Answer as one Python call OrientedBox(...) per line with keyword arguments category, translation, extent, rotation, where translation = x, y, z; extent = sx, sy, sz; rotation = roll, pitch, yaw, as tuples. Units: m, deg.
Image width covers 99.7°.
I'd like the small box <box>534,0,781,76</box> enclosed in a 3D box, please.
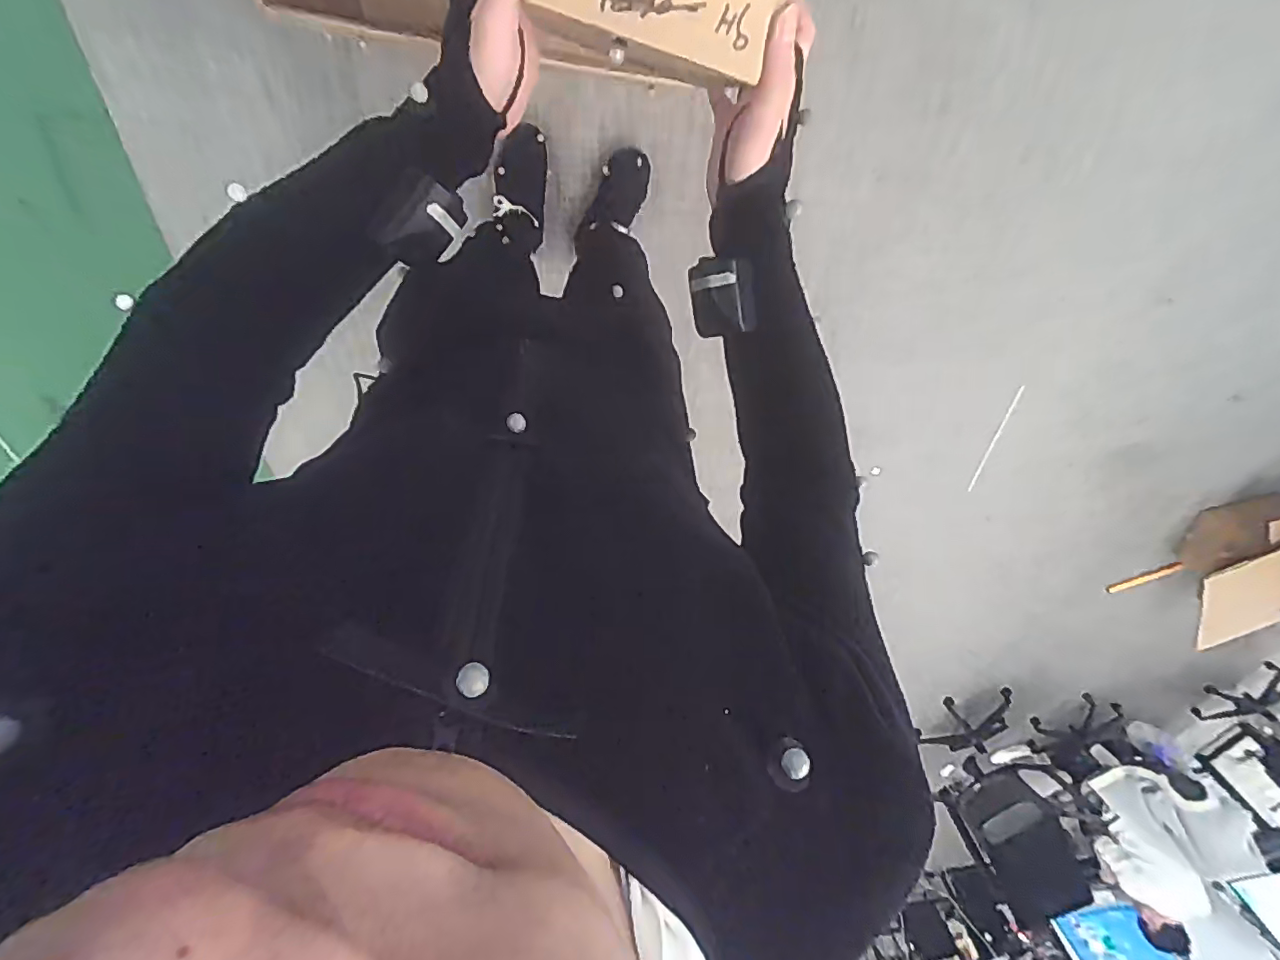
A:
OrientedBox(category="small box", translation=(0.015, -0.406, 0.367), extent=(0.168, 0.176, 0.179), rotation=(9, 123, -14))
